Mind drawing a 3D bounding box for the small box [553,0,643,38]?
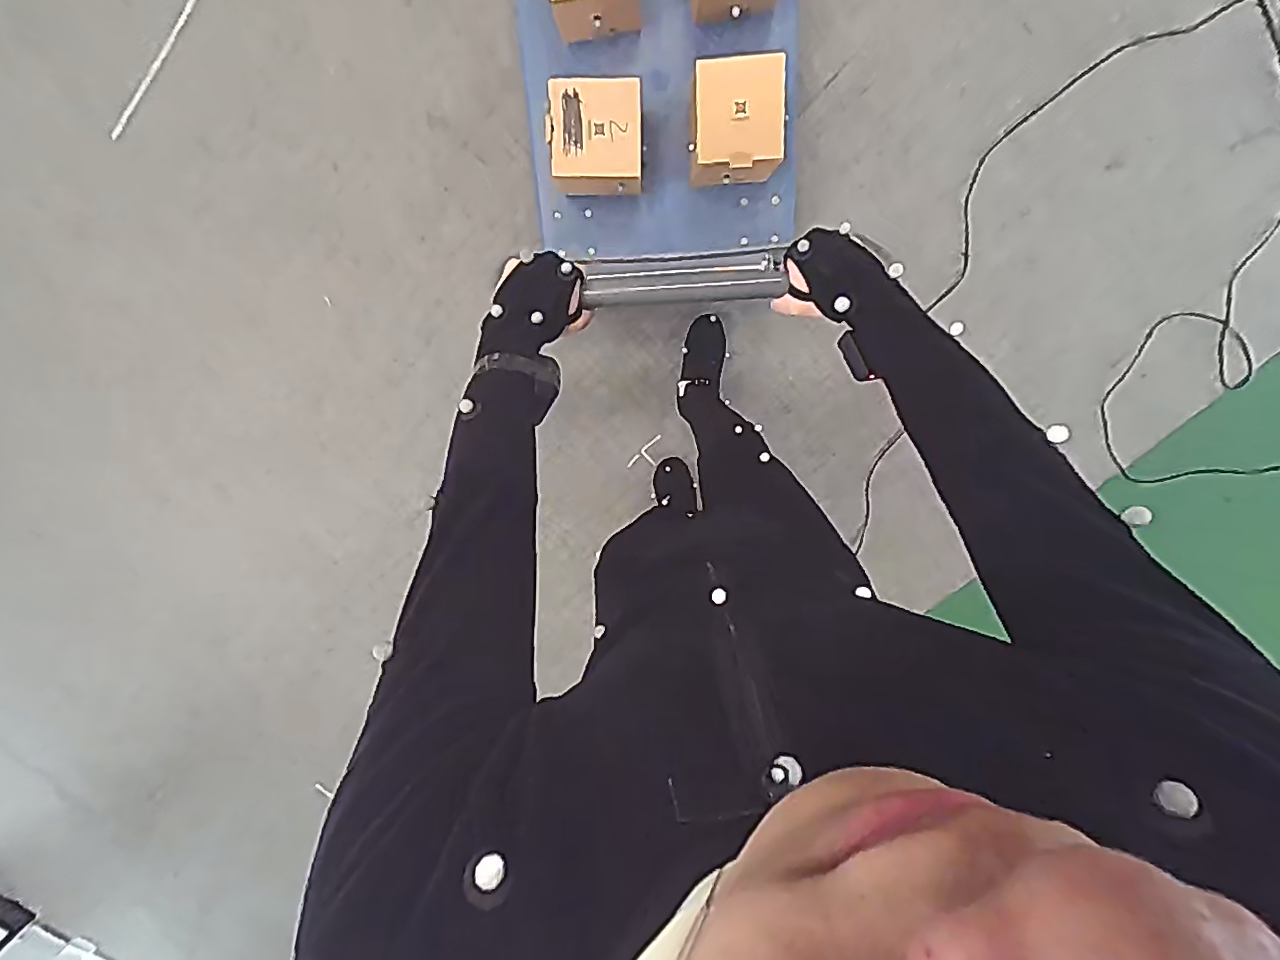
[{"bbox_3d":[-0.086,-0.971,1.014,0.168,0.176,0.179,-8,107,3],"label":"small box"}]

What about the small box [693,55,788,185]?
[{"bbox_3d":[0.195,-0.714,1.089,0.168,0.176,0.179,-3,107,2],"label":"small box"}]

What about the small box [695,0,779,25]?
[{"bbox_3d":[0.183,-0.998,1.001,0.168,0.176,0.179,-7,108,4],"label":"small box"}]
